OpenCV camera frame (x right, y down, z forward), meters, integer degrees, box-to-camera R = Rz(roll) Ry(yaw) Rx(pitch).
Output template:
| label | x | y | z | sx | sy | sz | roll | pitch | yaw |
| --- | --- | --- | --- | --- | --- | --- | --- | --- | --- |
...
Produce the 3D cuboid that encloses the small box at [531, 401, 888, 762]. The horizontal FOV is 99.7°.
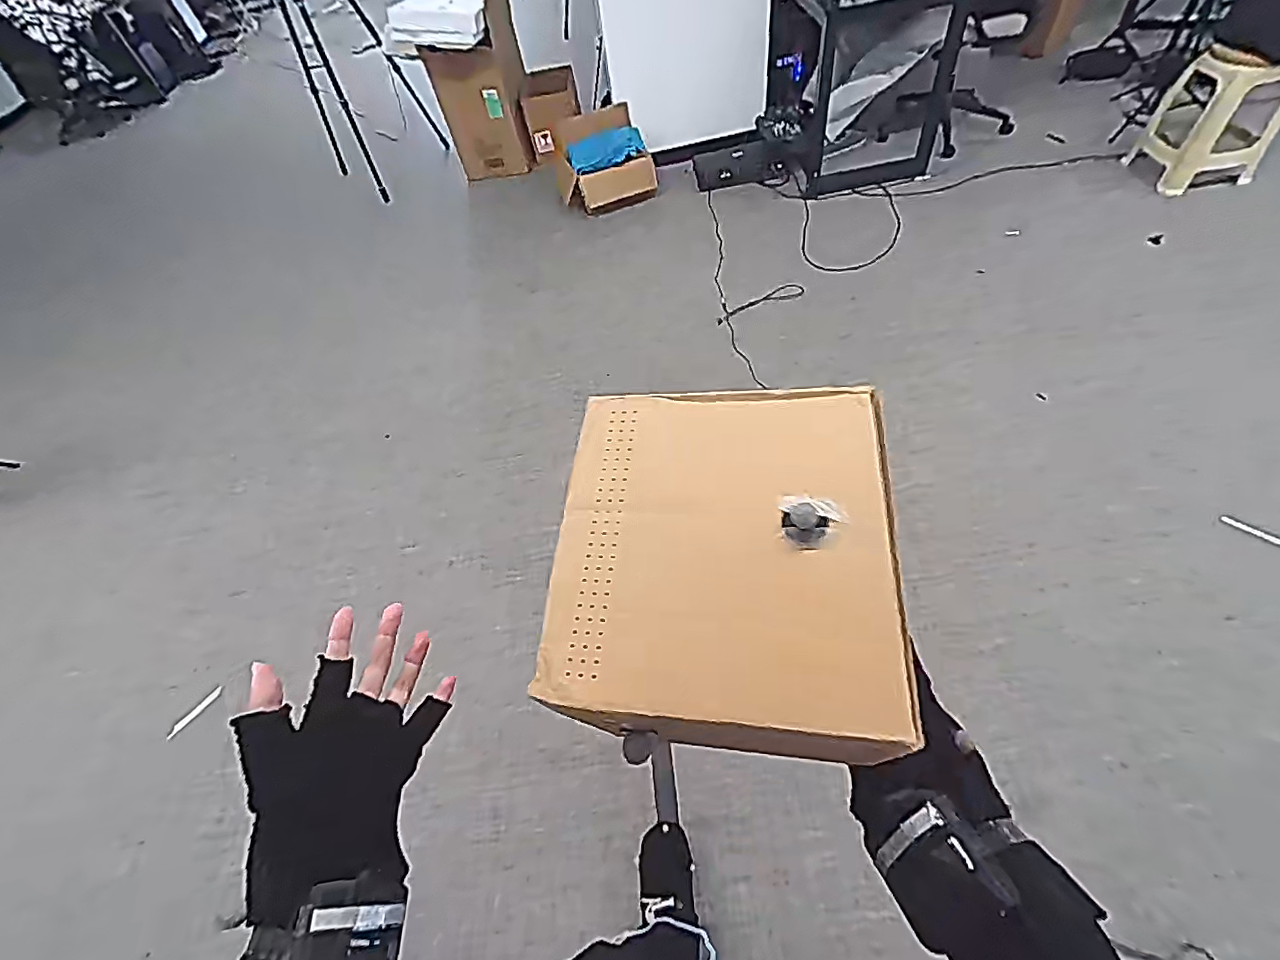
| label | x | y | z | sx | sy | sz | roll | pitch | yaw |
| --- | --- | --- | --- | --- | --- | --- | --- | --- | --- |
| small box | 0.046 | 0.070 | 0.346 | 0.176 | 0.168 | 0.179 | -1 | 60 | 16 |
